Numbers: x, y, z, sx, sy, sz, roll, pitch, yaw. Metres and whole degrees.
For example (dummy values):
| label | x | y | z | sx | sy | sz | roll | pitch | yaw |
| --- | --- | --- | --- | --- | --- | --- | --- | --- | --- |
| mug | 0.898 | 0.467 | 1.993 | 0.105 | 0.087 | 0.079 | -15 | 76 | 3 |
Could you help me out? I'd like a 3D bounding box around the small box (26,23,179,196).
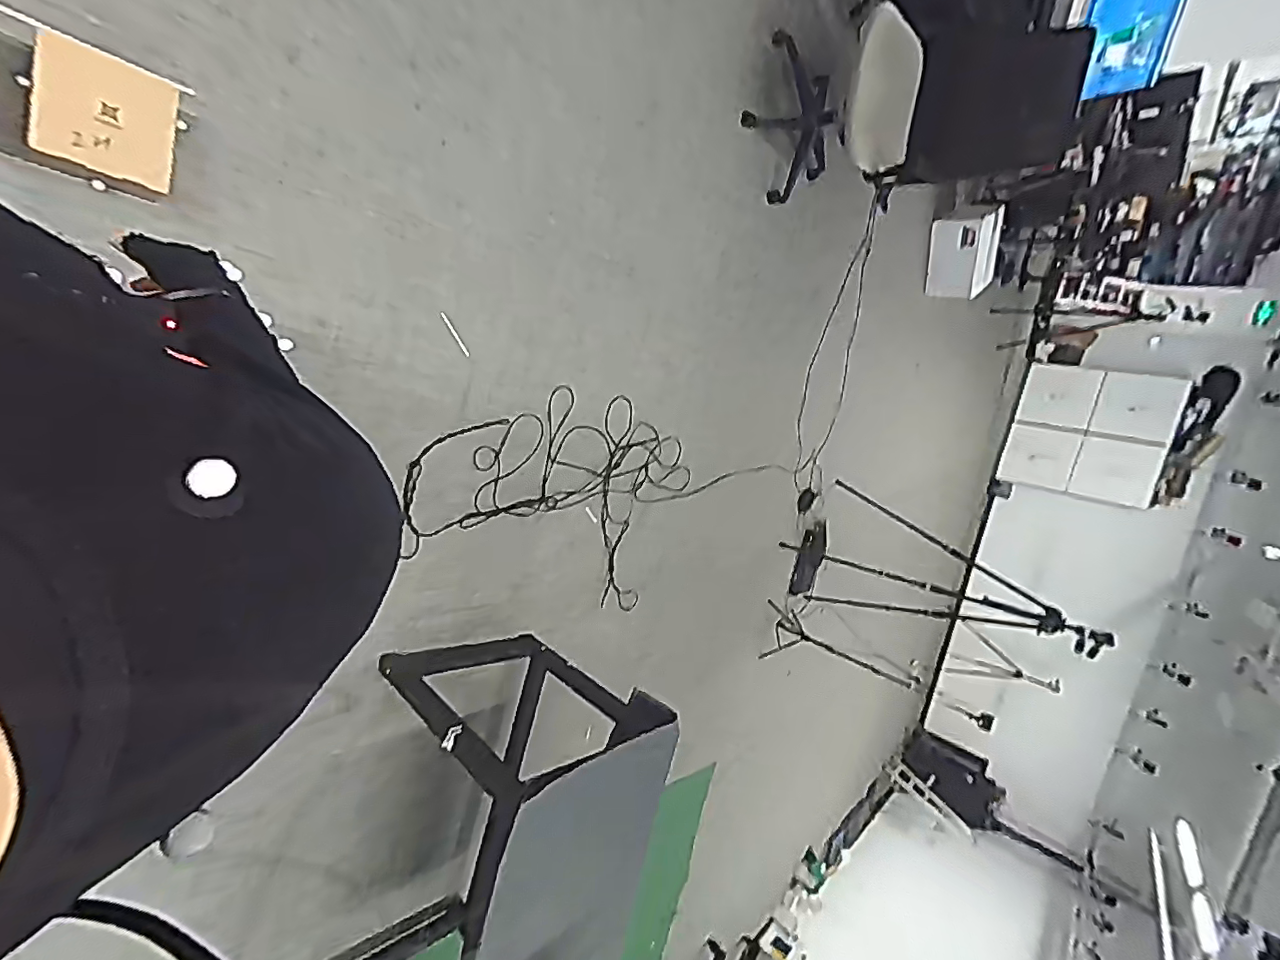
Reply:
| label | x | y | z | sx | sy | sz | roll | pitch | yaw |
| --- | --- | --- | --- | --- | --- | --- | --- | --- | --- |
| small box | -0.917 | -0.612 | 0.922 | 0.168 | 0.176 | 0.179 | 5 | 101 | -48 |
